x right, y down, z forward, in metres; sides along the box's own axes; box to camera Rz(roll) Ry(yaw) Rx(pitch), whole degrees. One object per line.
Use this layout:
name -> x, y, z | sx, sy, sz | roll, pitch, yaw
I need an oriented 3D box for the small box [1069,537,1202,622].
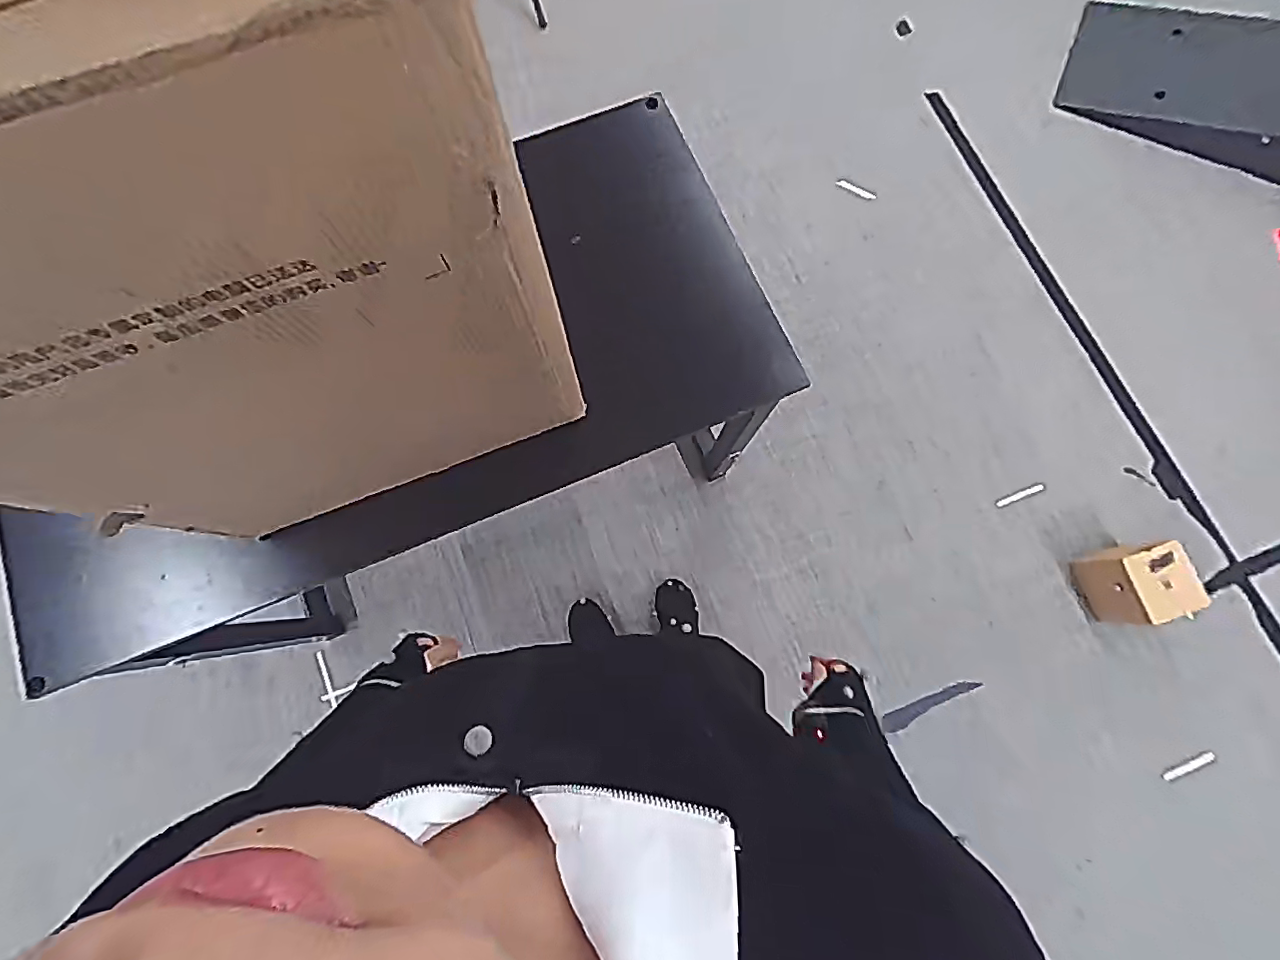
small box -> 1.308, 0.267, 1.444 | 0.168, 0.176, 0.179 | -18, 80, -4
